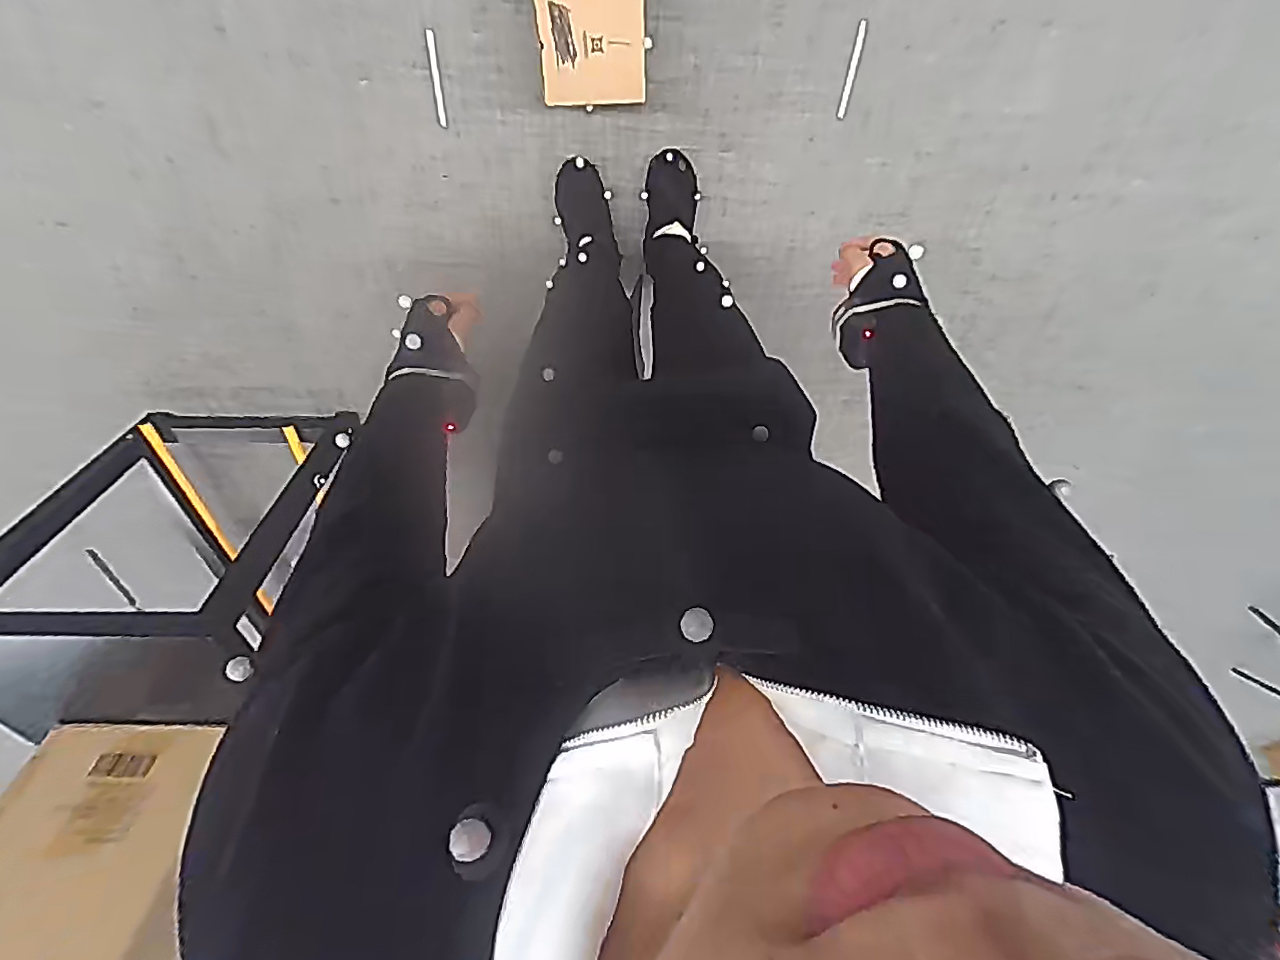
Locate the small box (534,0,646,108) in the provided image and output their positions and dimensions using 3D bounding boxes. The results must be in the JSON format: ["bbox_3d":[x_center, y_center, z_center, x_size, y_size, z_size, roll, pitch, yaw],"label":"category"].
[{"bbox_3d":[-0.079,-0.755,0.939,0.179,0.176,0.168,-2,131,-1],"label":"small box"}]
